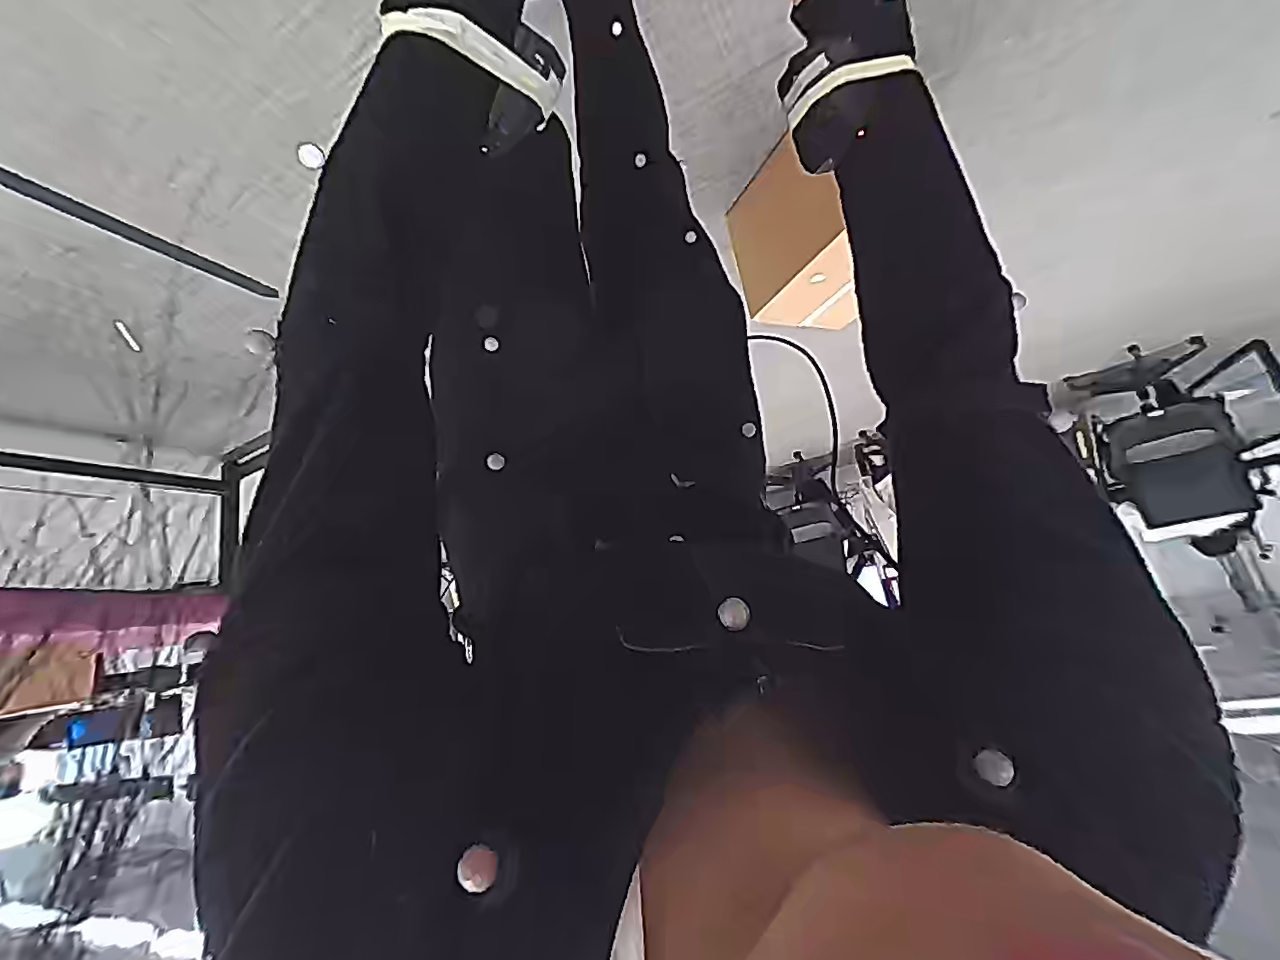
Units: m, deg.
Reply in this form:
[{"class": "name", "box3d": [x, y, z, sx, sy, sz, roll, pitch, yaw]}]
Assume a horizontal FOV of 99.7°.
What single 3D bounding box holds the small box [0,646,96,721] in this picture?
[{"class": "small box", "box3d": [-1.725, 0.584, 1.567, 0.179, 0.176, 0.168, -17, 164, 24]}]
